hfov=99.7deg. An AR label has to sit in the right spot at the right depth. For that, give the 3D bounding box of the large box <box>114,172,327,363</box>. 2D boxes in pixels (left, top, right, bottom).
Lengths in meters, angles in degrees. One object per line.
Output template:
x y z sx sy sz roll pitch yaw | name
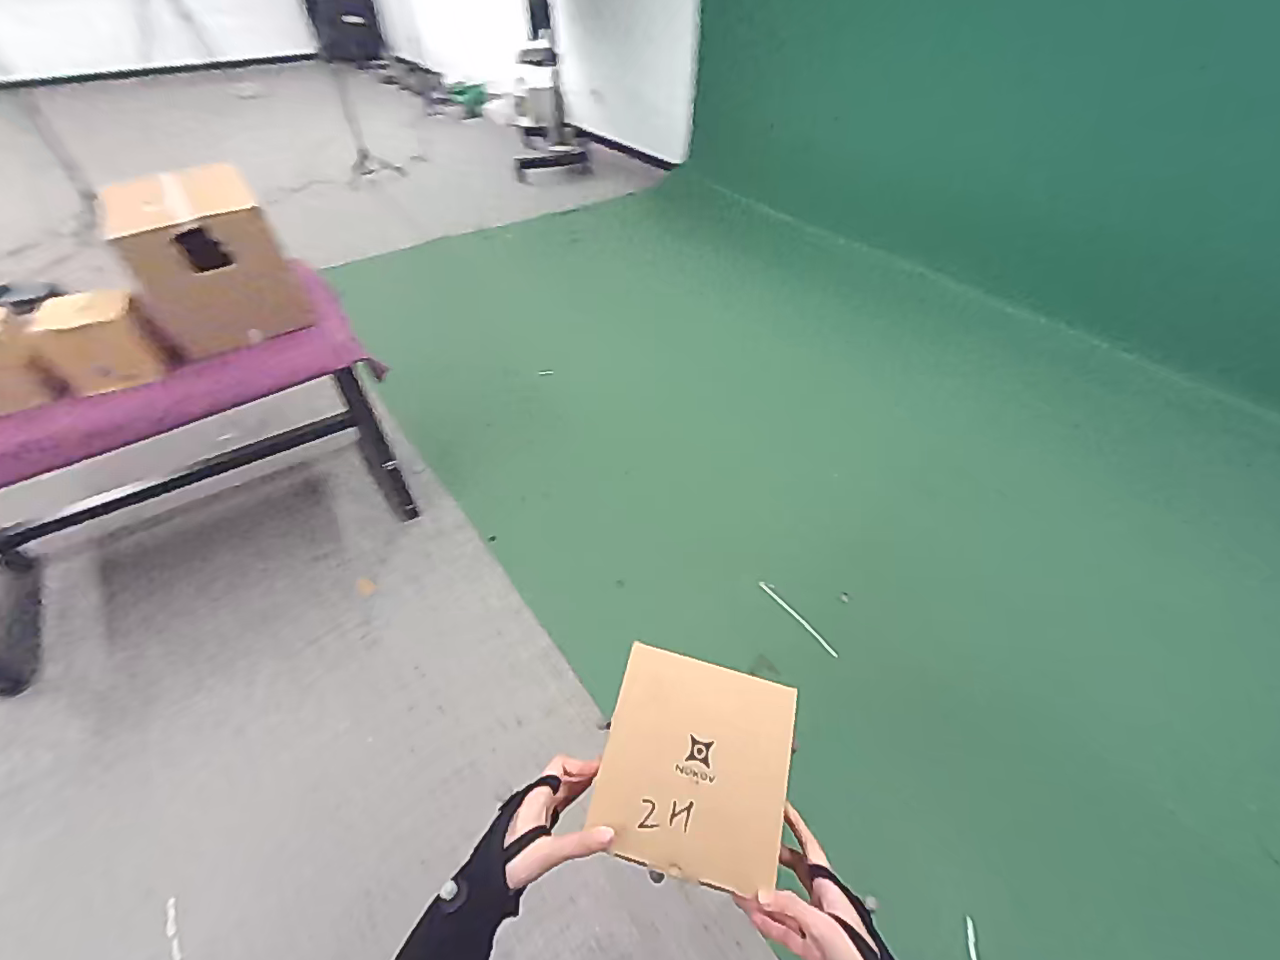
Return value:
-1.105 -0.575 1.444 0.320 0.320 0.408 -29 53 -23 | large box

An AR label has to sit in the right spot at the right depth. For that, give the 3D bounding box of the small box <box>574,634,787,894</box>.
0.037 0.284 0.552 0.168 0.176 0.179 14 59 4 | small box
